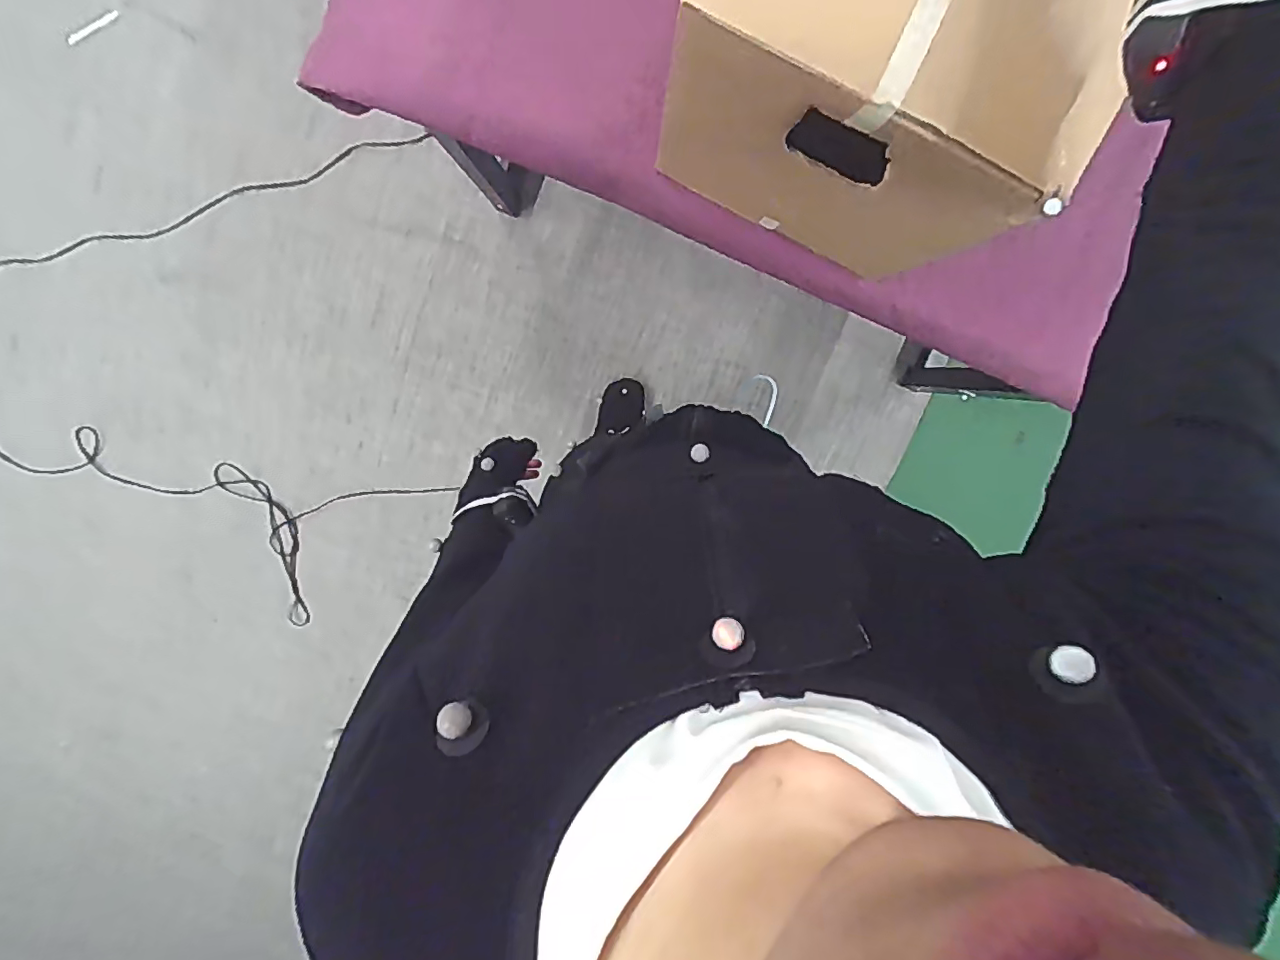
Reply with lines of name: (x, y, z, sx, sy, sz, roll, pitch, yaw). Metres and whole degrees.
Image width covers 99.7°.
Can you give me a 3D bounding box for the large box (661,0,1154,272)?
large box: (0.244, -0.474, 0.511, 0.320, 0.320, 0.408, 24, 100, -5)
